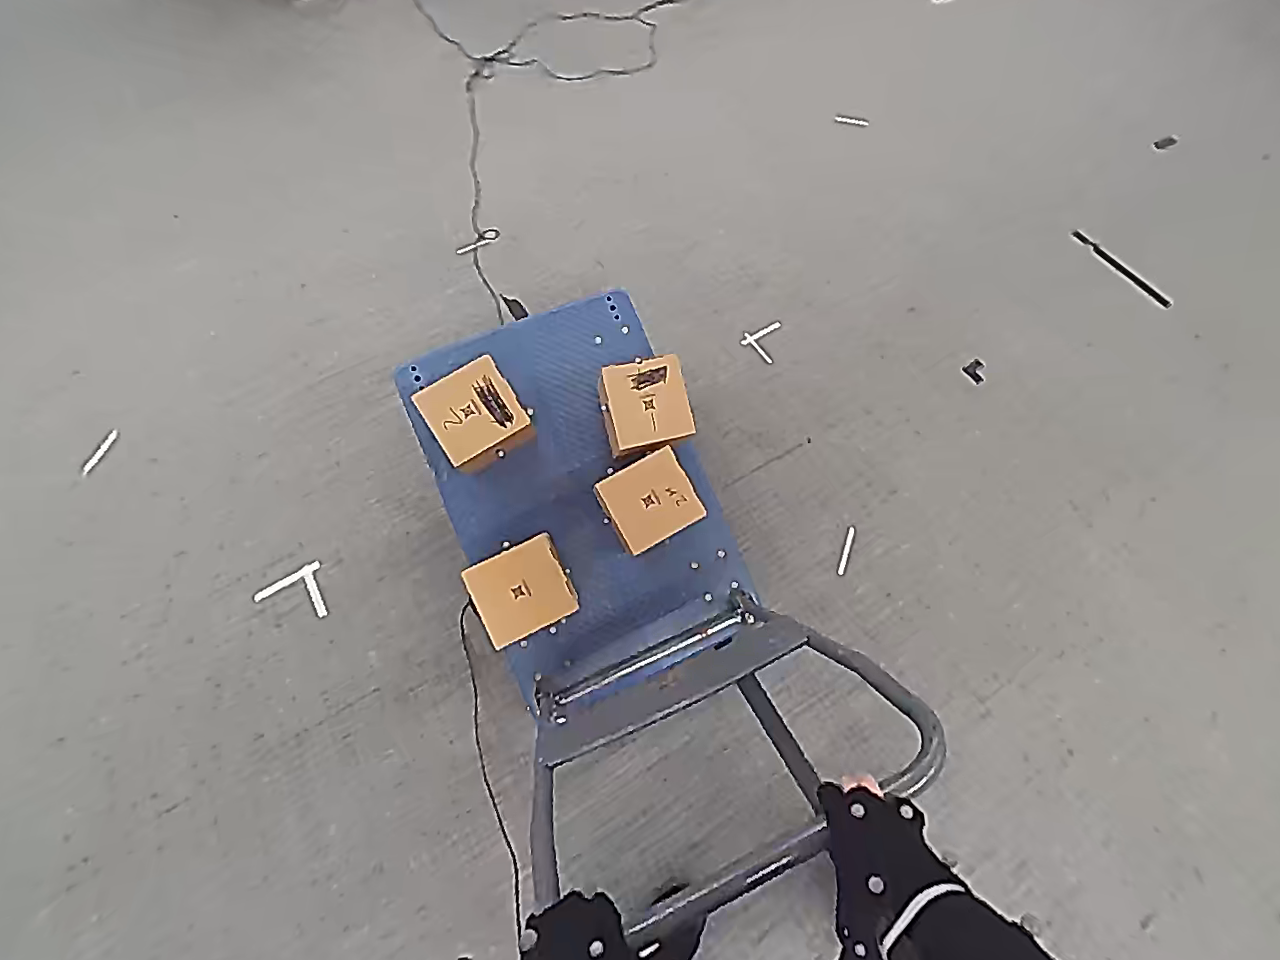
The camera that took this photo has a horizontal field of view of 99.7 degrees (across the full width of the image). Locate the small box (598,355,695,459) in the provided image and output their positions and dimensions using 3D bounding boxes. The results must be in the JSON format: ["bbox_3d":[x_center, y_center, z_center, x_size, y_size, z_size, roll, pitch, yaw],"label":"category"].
[{"bbox_3d":[0.006,-0.154,1.187,0.168,0.176,0.179,-13,87,-8],"label":"small box"}]

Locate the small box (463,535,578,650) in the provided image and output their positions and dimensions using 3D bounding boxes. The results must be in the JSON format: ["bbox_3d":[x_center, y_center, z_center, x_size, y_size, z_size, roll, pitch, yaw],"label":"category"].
[{"bbox_3d":[-0.239,0.226,1.122,0.179,0.176,0.168,-26,88,-10],"label":"small box"}]

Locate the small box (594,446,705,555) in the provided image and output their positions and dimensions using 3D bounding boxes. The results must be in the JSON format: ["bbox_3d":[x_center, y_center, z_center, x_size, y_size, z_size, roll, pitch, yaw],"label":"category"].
[{"bbox_3d":[0.014,0.048,1.169,0.179,0.176,0.168,-29,89,-8],"label":"small box"}]
